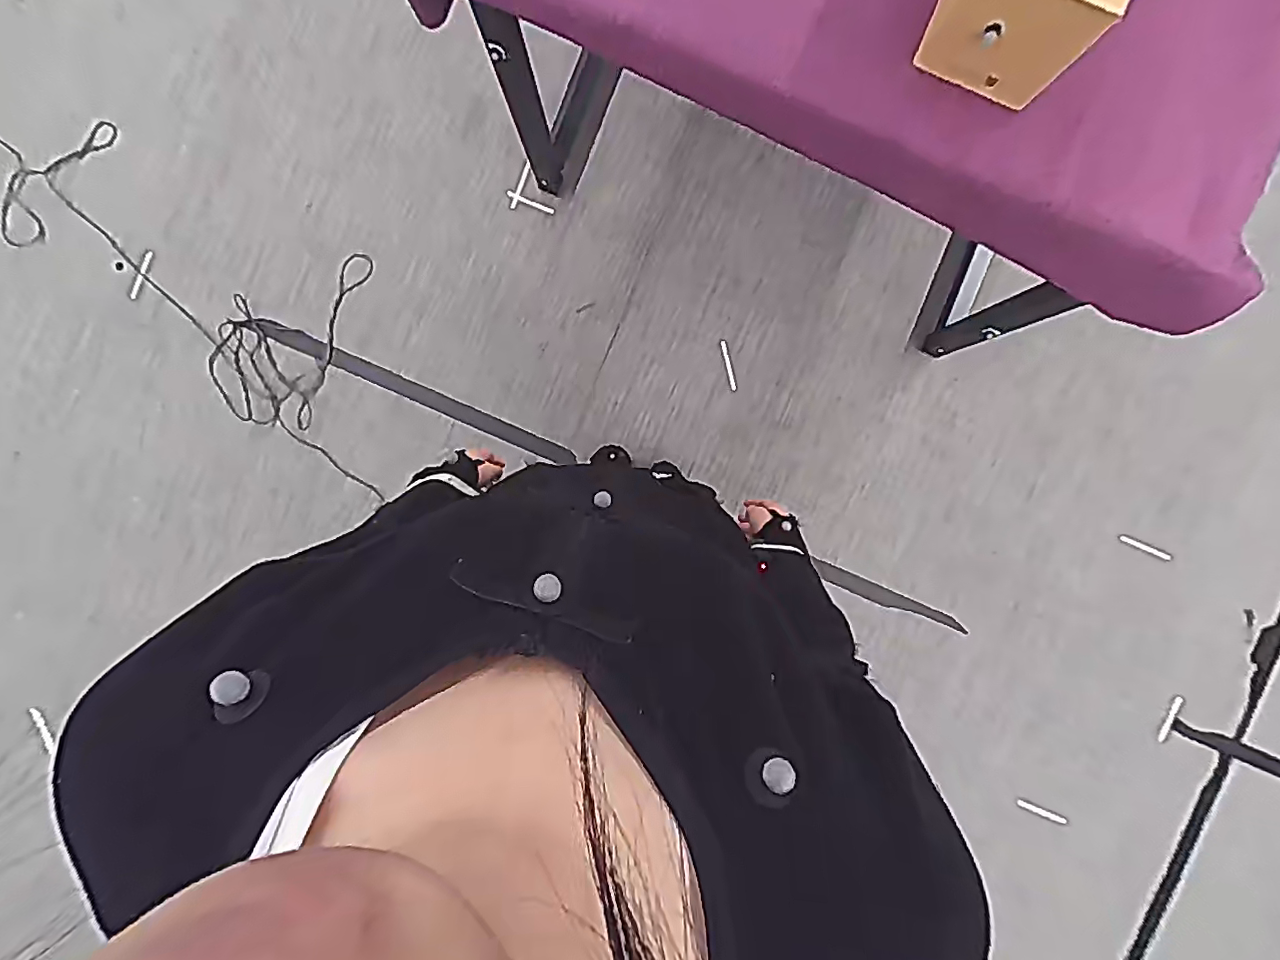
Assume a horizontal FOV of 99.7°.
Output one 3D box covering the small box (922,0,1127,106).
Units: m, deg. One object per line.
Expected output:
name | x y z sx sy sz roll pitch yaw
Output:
small box | 0.487 -0.620 0.672 0.168 0.176 0.179 23 91 -1
